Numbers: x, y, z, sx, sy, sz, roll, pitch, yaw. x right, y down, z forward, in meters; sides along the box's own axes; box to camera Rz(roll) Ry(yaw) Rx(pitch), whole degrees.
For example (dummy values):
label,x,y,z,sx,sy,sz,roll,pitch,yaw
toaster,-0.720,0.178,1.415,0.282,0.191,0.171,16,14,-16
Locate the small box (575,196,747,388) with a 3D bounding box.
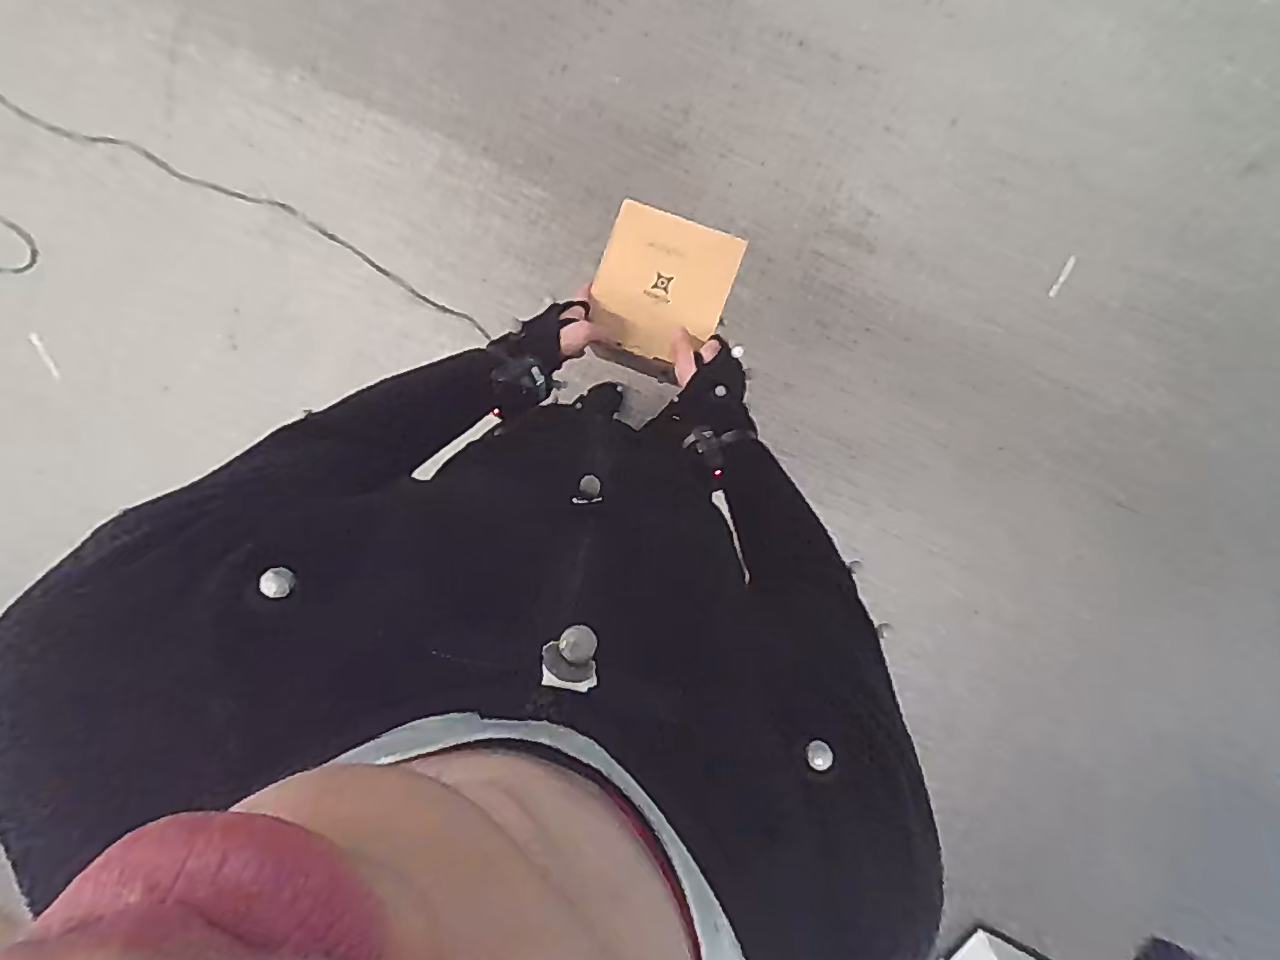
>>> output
label,x,y,z,sx,sy,sz,roll,pitch,yaw
small box,0.029,-0.238,0.735,0.168,0.176,0.179,20,91,2
